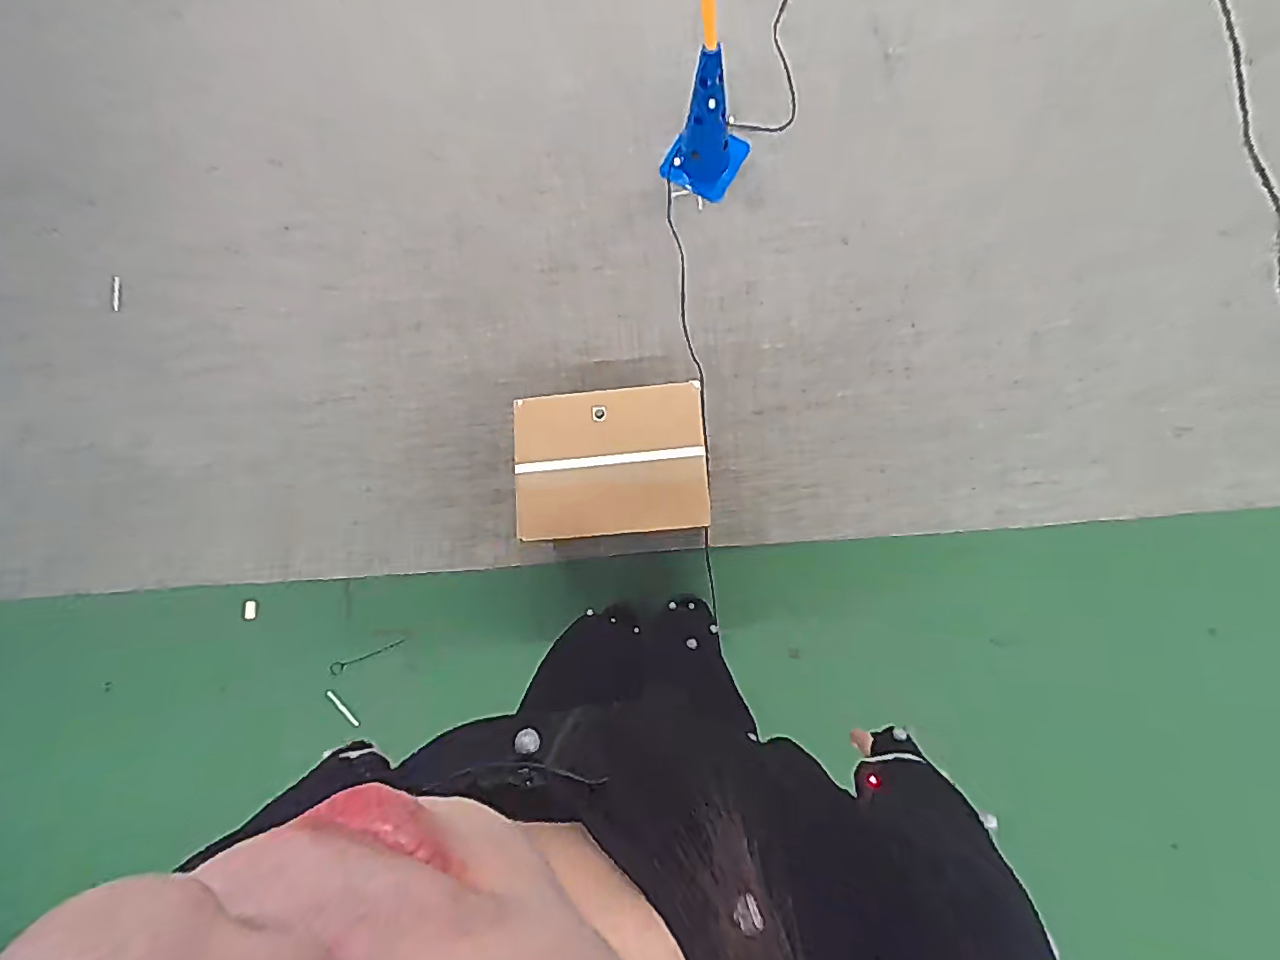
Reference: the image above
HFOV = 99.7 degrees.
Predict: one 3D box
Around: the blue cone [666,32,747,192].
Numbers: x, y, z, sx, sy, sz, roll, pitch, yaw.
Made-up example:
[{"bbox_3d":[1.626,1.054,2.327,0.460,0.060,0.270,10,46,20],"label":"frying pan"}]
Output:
[{"bbox_3d":[0.171,-0.917,1.333,0.192,0.380,0.193,28,88,7],"label":"blue cone"}]
